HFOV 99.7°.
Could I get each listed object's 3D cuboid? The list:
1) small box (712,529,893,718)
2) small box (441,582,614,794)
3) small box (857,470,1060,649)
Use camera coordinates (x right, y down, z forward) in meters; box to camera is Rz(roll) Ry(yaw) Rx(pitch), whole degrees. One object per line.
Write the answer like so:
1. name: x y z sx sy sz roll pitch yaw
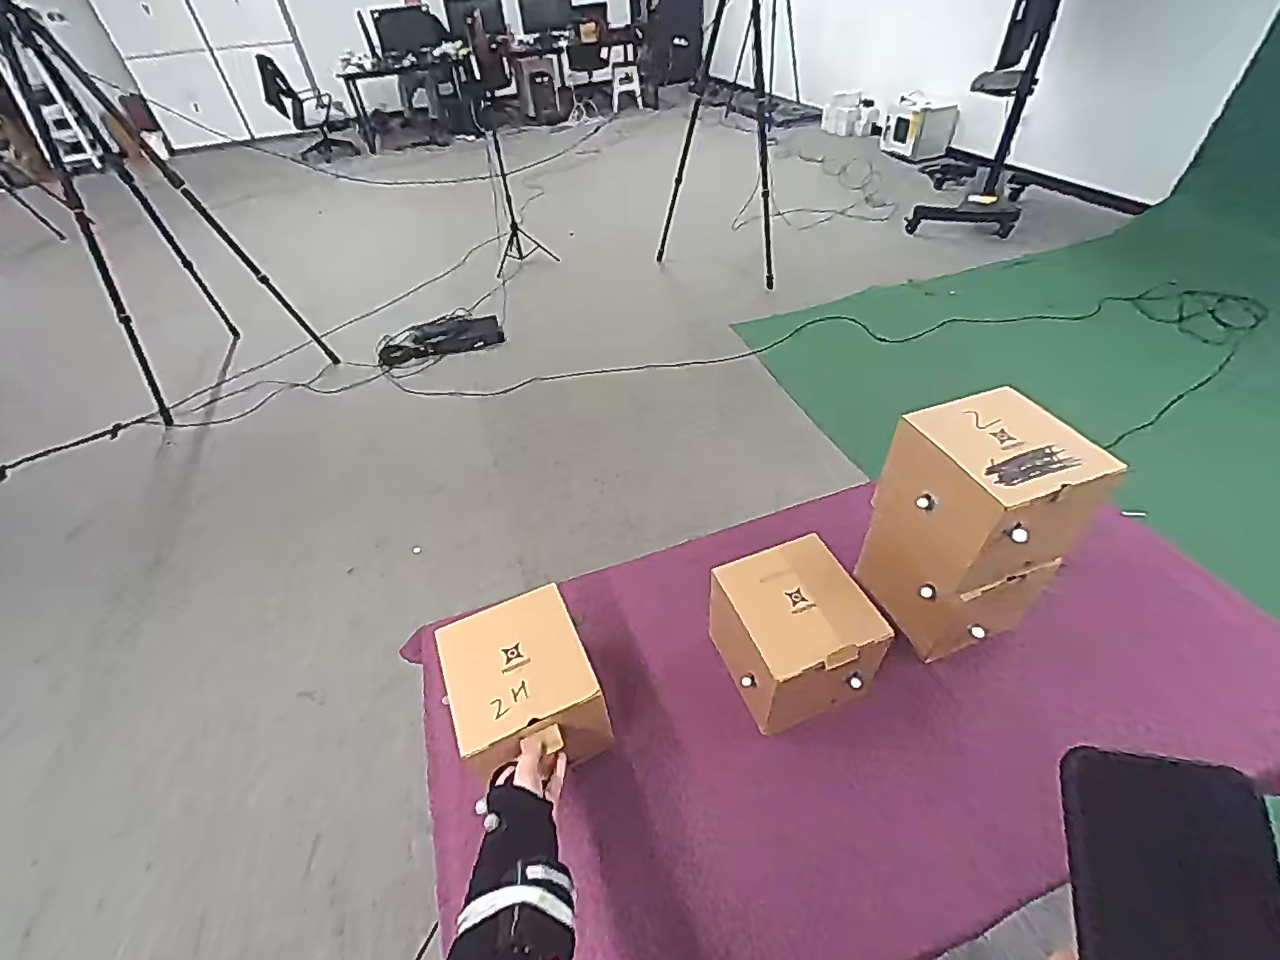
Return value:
1. small box: 0.211 0.204 0.751 0.168 0.176 0.179 -18 45 -12
2. small box: -0.145 0.274 0.717 0.168 0.176 0.179 -21 47 -14
3. small box: 0.455 0.118 0.809 0.168 0.176 0.179 -18 47 -11
